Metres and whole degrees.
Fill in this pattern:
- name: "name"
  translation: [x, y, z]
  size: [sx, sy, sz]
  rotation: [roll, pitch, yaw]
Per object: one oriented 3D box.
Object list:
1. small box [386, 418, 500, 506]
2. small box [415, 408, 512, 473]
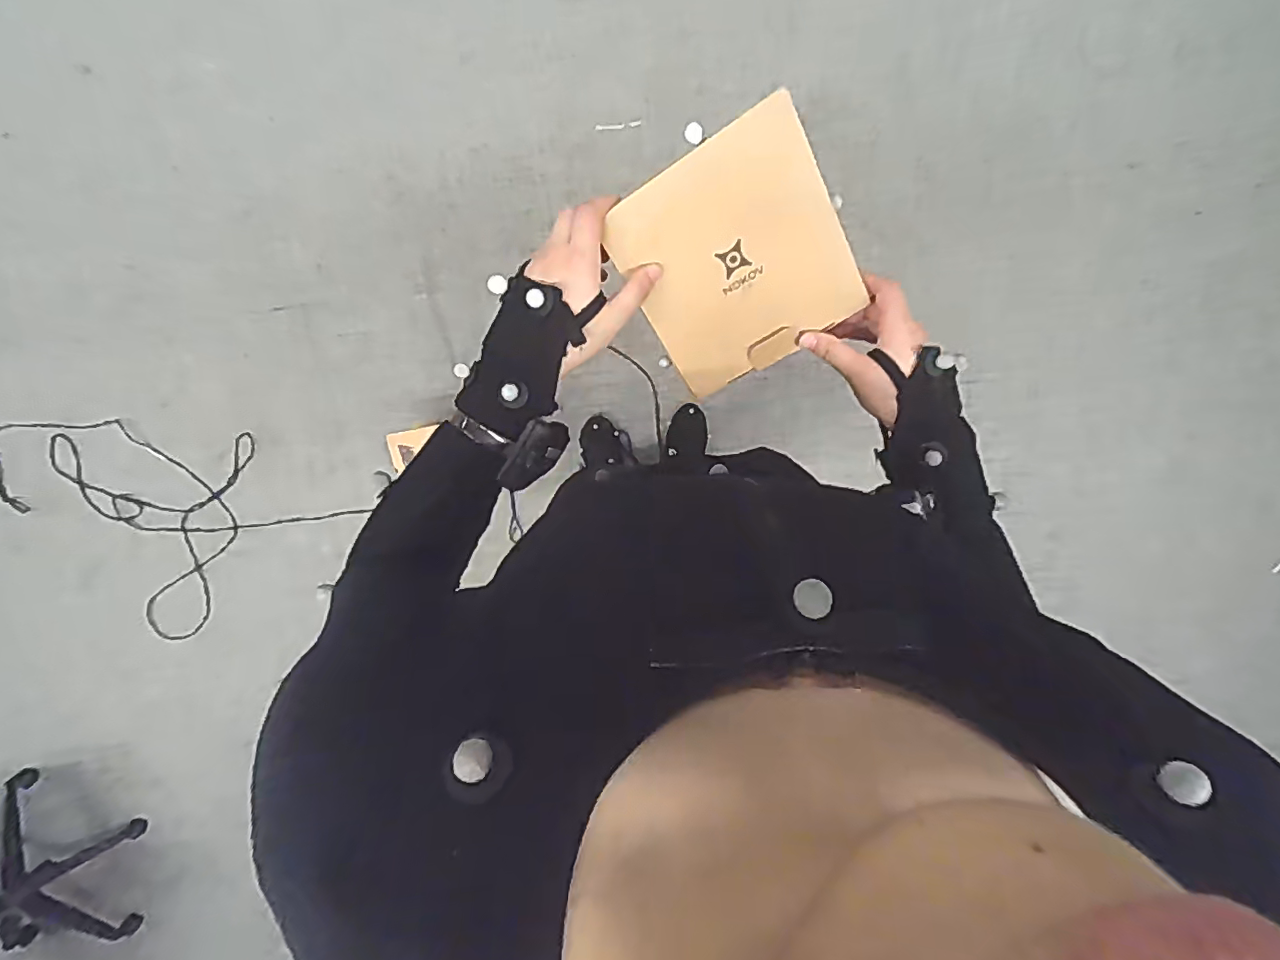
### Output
- name: "small box"
  translation: [-0.442, -0.046, 1.239]
  size: [0.179, 0.176, 0.168]
  rotation: [-10, 99, 3]
- name: "small box"
  translation: [-0.444, -0.089, 1.398]
  size: [0.179, 0.176, 0.168]
  rotation: [-14, 98, 4]
